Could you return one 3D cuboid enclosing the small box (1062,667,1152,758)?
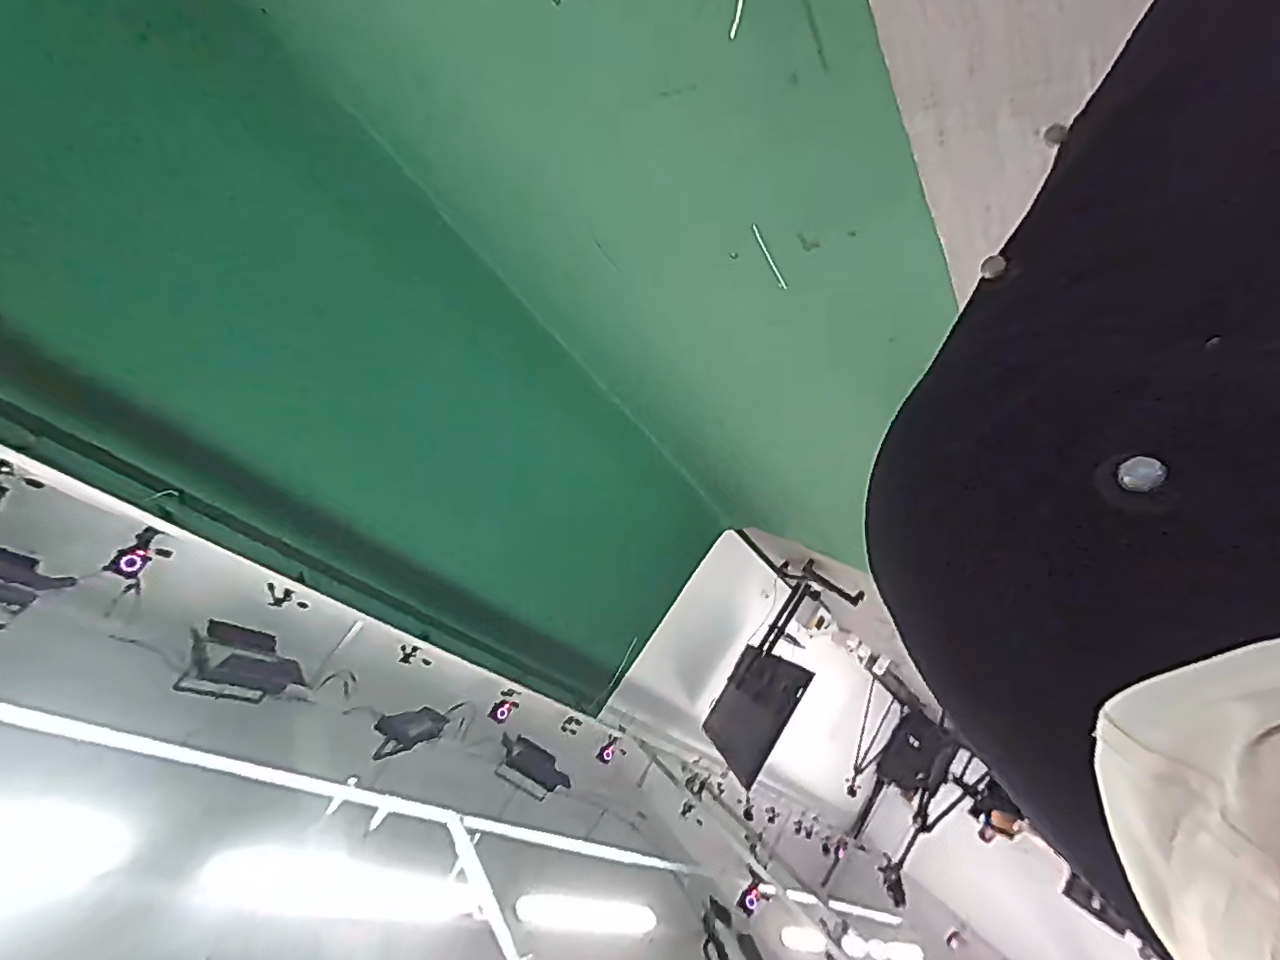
[{"bbox_3d":[1.445,0.712,1.667,0.179,0.176,0.168,45,165,-35],"label":"small box"}]
